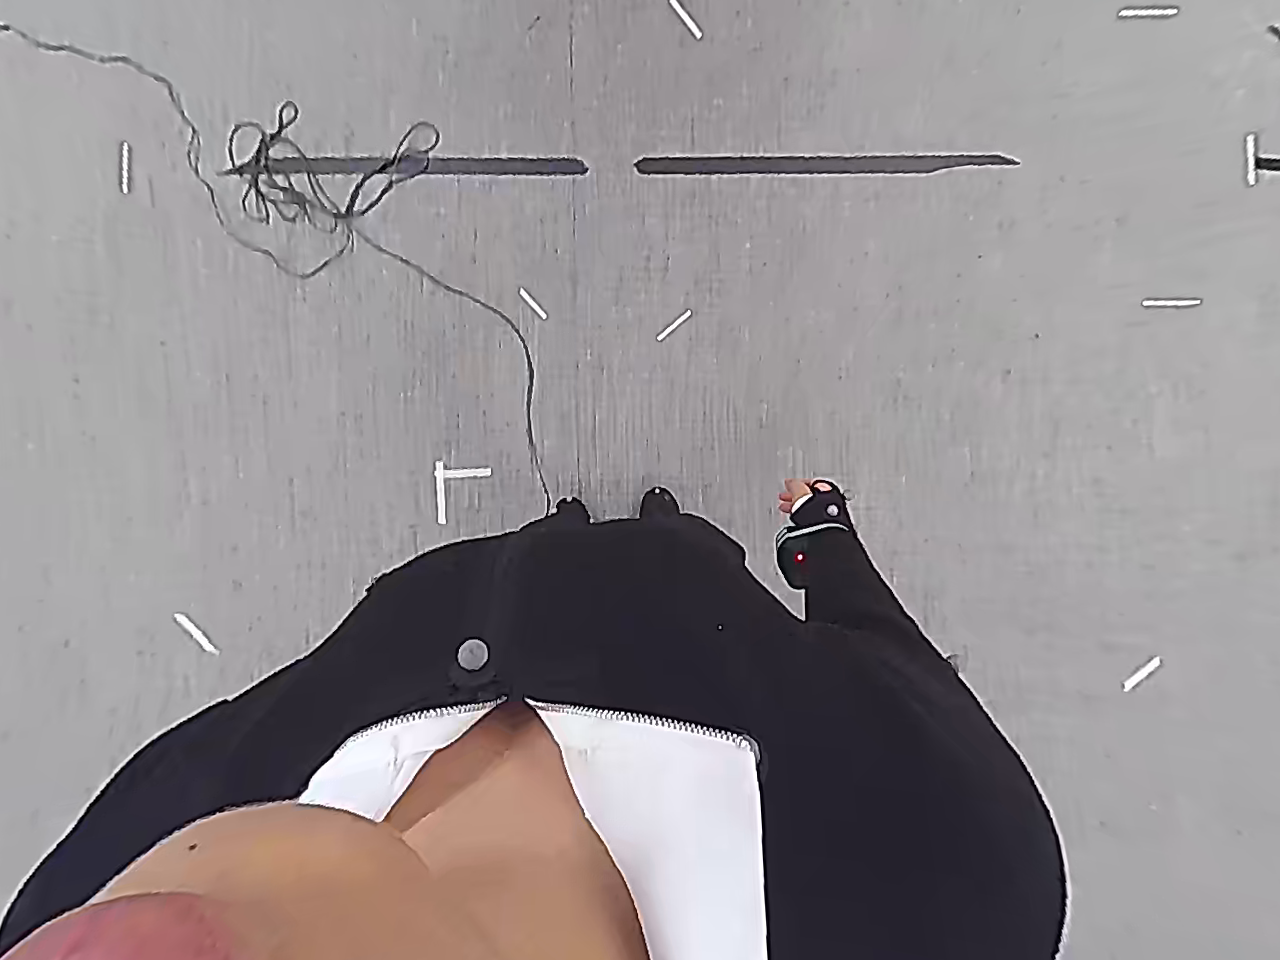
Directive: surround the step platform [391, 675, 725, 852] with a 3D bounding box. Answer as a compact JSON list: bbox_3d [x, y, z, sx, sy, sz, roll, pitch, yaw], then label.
[{"bbox_3d":[-0.166,0.607,1.193,0.684,0.204,0.286,-2,90,1],"label":"step platform"}]
